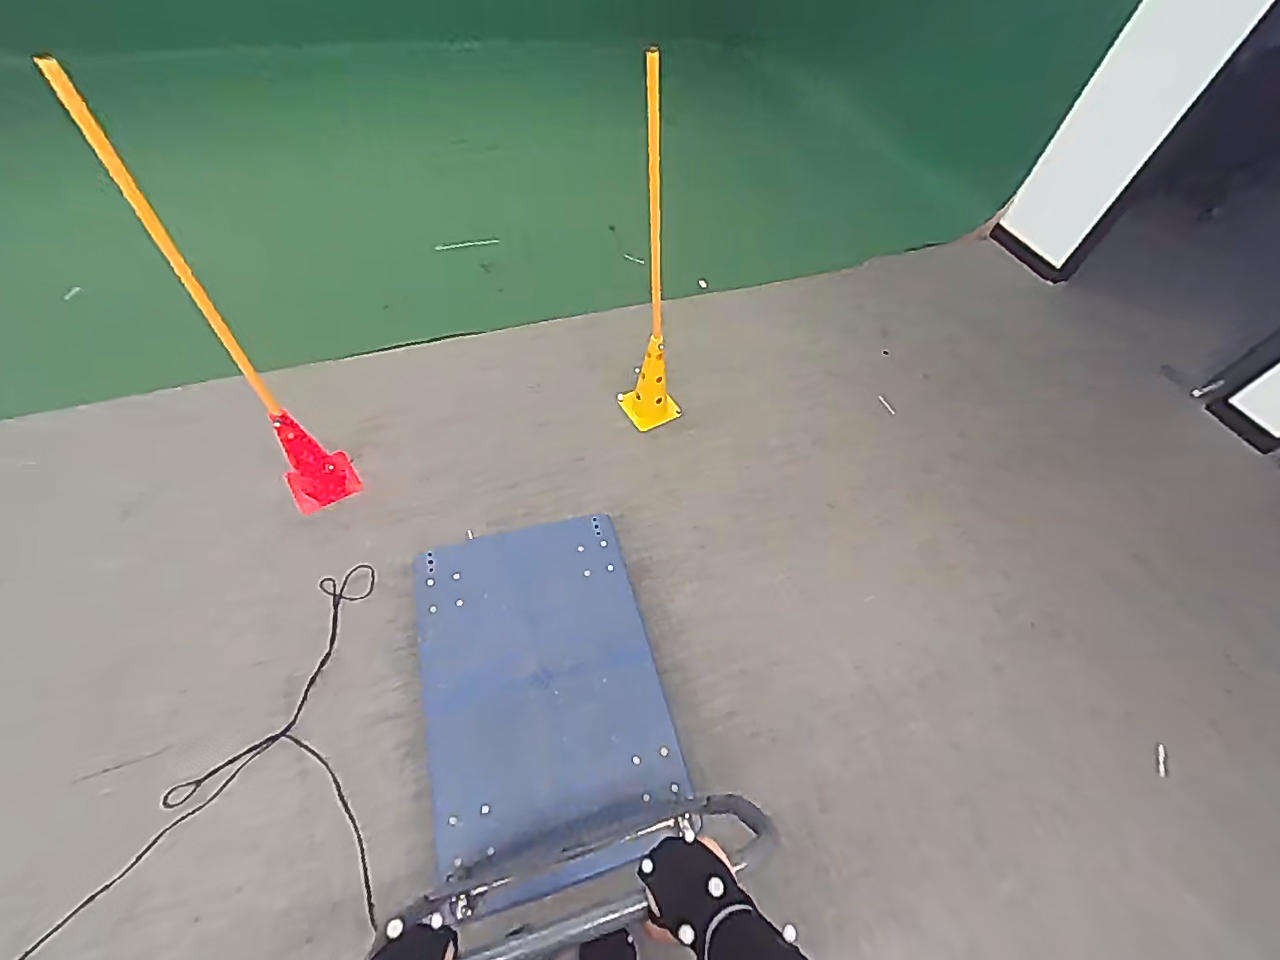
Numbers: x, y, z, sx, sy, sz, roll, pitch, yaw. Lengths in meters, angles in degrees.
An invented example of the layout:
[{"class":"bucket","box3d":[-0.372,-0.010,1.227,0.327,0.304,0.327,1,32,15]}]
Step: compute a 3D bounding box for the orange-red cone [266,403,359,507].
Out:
[{"class":"orange-red cone","box3d":[-1.058,-0.108,1.680,0.199,0.360,0.198,-29,63,-21]}]
